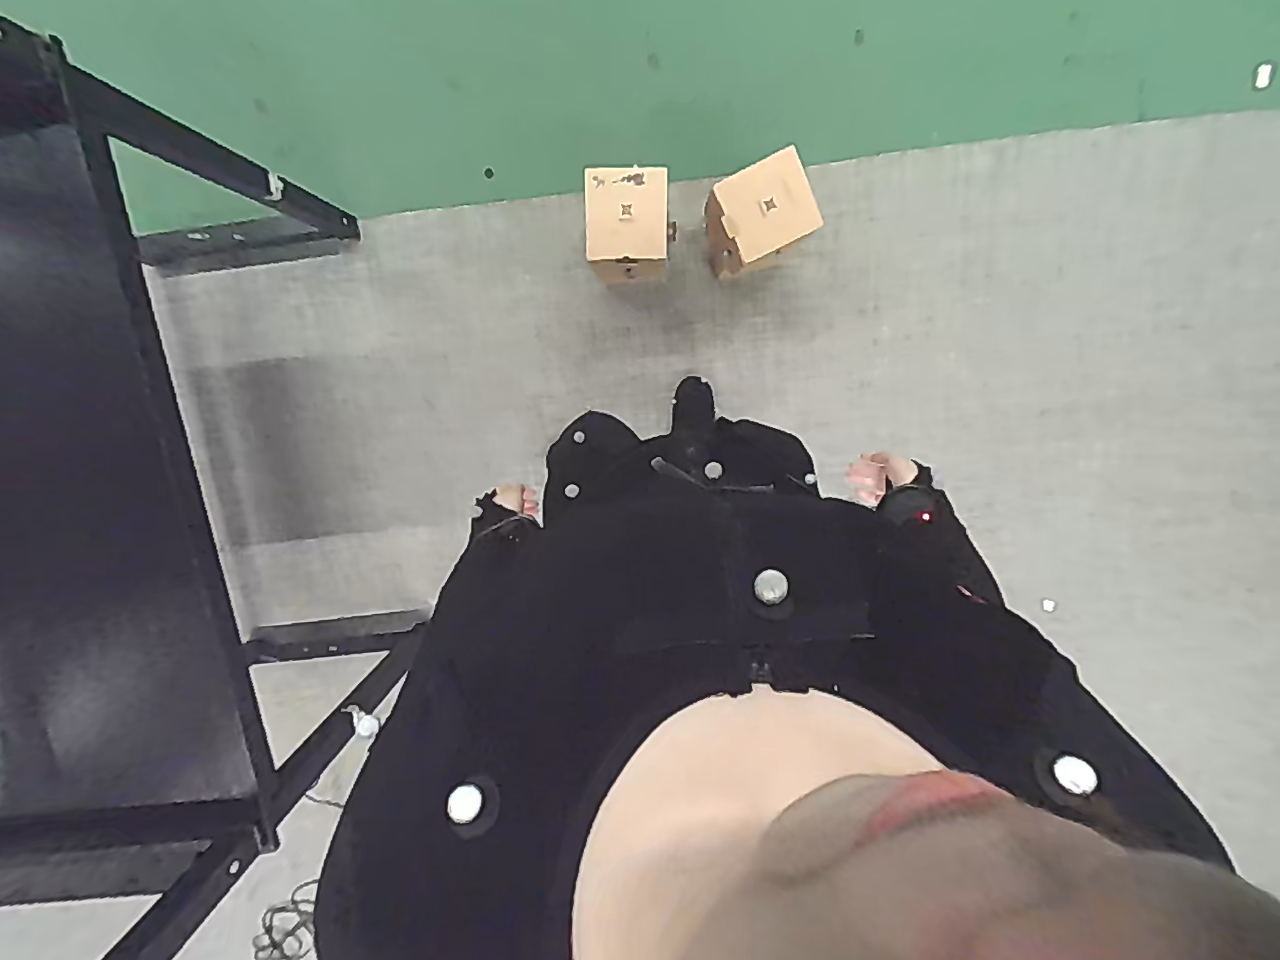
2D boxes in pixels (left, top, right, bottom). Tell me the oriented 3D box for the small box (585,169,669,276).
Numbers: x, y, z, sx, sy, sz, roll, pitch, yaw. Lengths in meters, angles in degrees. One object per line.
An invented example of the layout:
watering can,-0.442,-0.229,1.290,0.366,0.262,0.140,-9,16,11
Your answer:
small box,-0.023,-0.535,1.144,0.168,0.176,0.179,1,101,2

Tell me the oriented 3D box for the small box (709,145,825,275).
small box,0.255,-0.552,1.135,0.179,0.176,0.168,-25,101,5

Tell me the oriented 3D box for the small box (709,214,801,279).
small box,0.266,-0.594,1.291,0.179,0.176,0.168,-13,101,3
